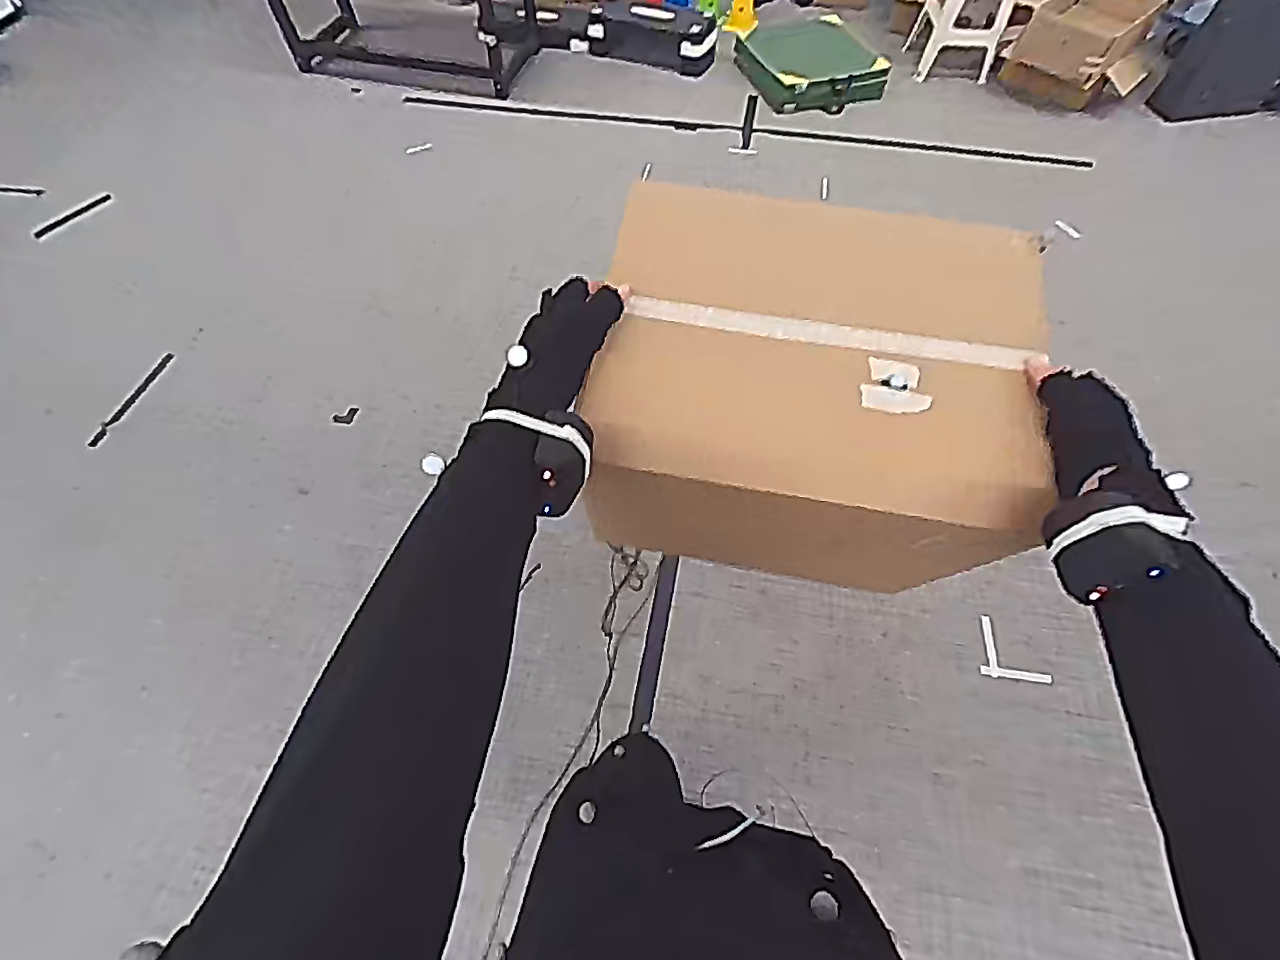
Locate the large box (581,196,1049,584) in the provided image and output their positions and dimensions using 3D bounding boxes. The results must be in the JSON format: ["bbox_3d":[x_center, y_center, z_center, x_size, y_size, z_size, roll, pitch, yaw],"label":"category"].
[{"bbox_3d":[0.168,-0.079,0.644,0.408,0.320,0.320,10,72,4],"label":"large box"}]
